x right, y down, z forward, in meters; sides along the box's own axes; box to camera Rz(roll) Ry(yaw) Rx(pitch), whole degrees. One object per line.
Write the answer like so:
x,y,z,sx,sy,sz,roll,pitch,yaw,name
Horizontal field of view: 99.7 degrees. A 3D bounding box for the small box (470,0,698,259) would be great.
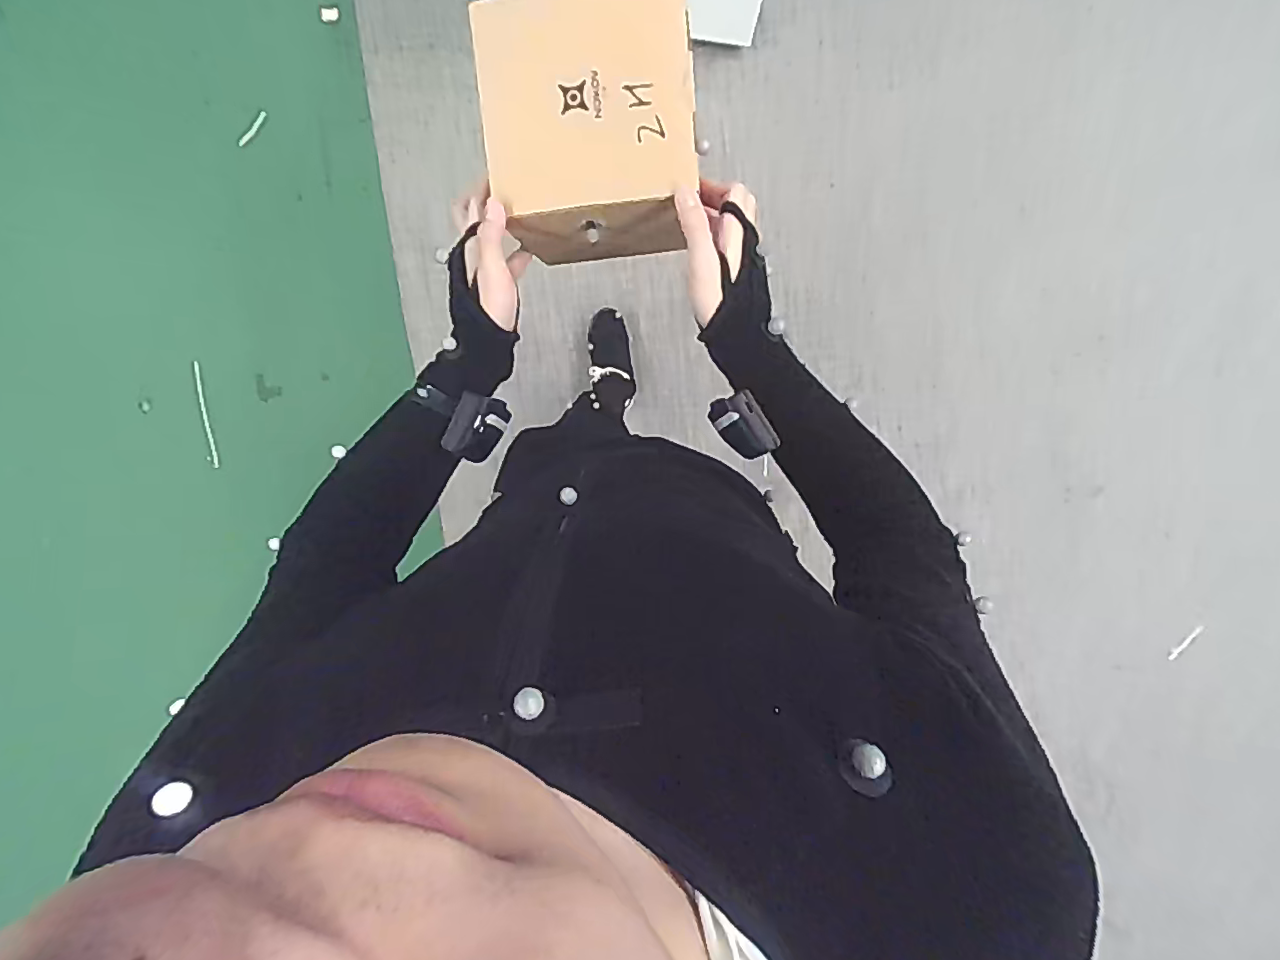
-0.037,-0.319,0.510,0.179,0.176,0.168,-4,98,5,small box
